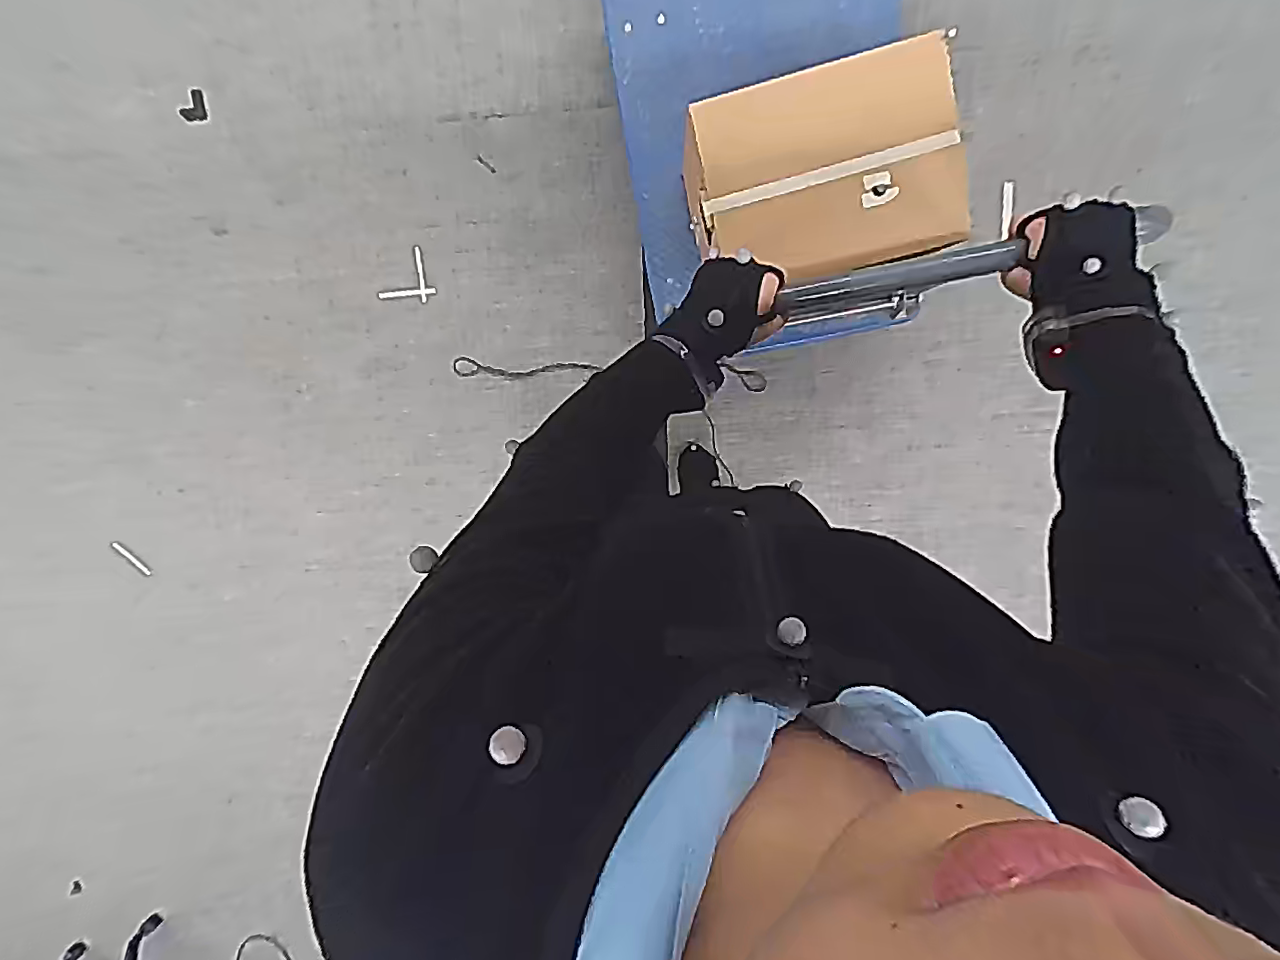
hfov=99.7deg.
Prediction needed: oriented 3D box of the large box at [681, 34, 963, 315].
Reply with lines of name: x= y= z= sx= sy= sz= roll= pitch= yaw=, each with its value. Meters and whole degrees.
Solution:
large box: x=0.313 y=-0.534 z=1.033 sx=0.408 sy=0.320 sz=0.320 roll=-14 pitch=102 yaw=4
